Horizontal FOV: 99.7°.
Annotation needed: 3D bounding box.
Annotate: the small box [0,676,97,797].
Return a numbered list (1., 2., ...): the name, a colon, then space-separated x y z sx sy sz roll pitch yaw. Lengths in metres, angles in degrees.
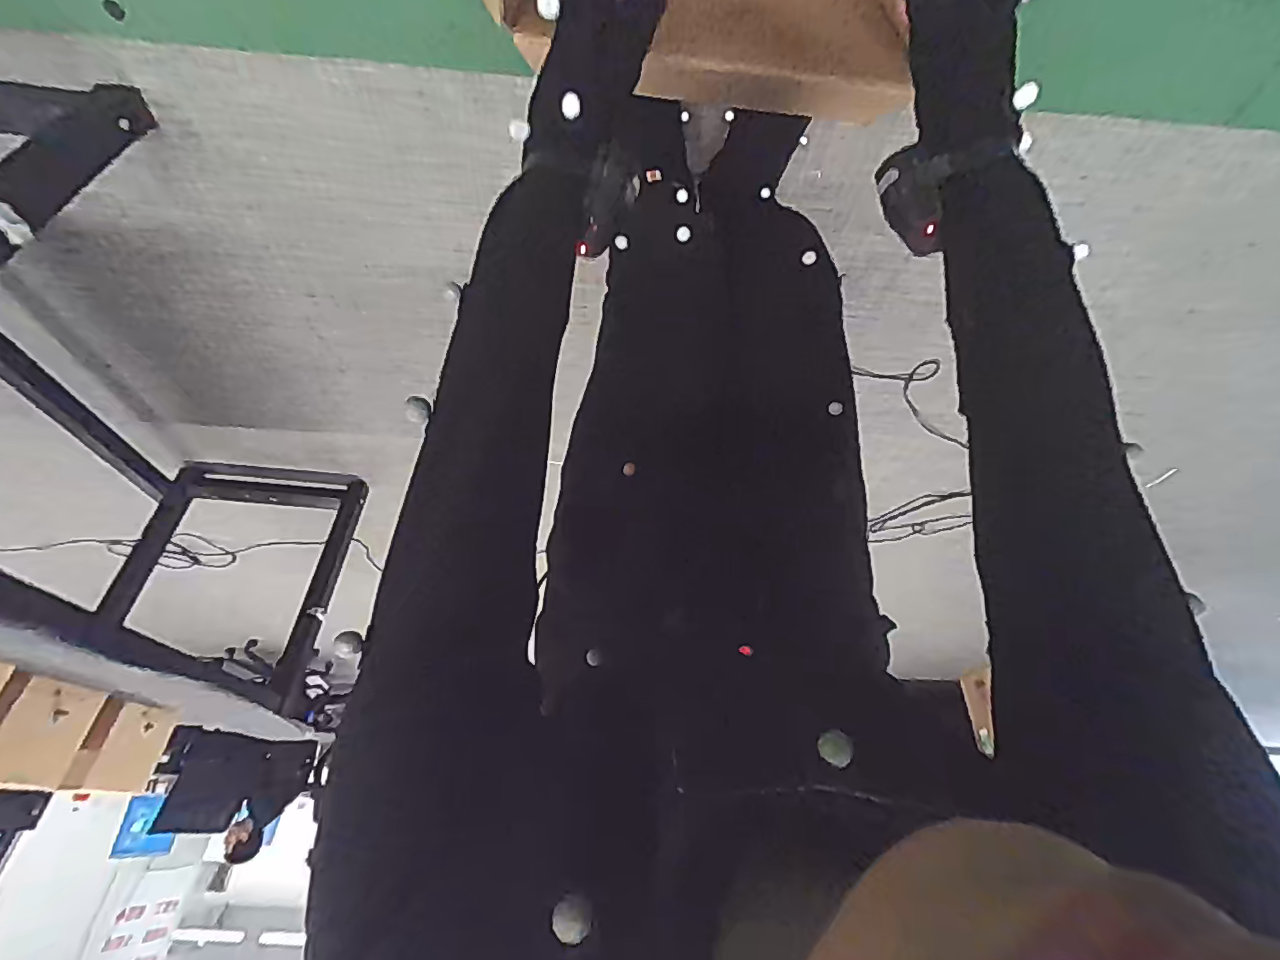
1. small box: -1.126 0.441 0.935 0.179 0.176 0.168 3 147 0
